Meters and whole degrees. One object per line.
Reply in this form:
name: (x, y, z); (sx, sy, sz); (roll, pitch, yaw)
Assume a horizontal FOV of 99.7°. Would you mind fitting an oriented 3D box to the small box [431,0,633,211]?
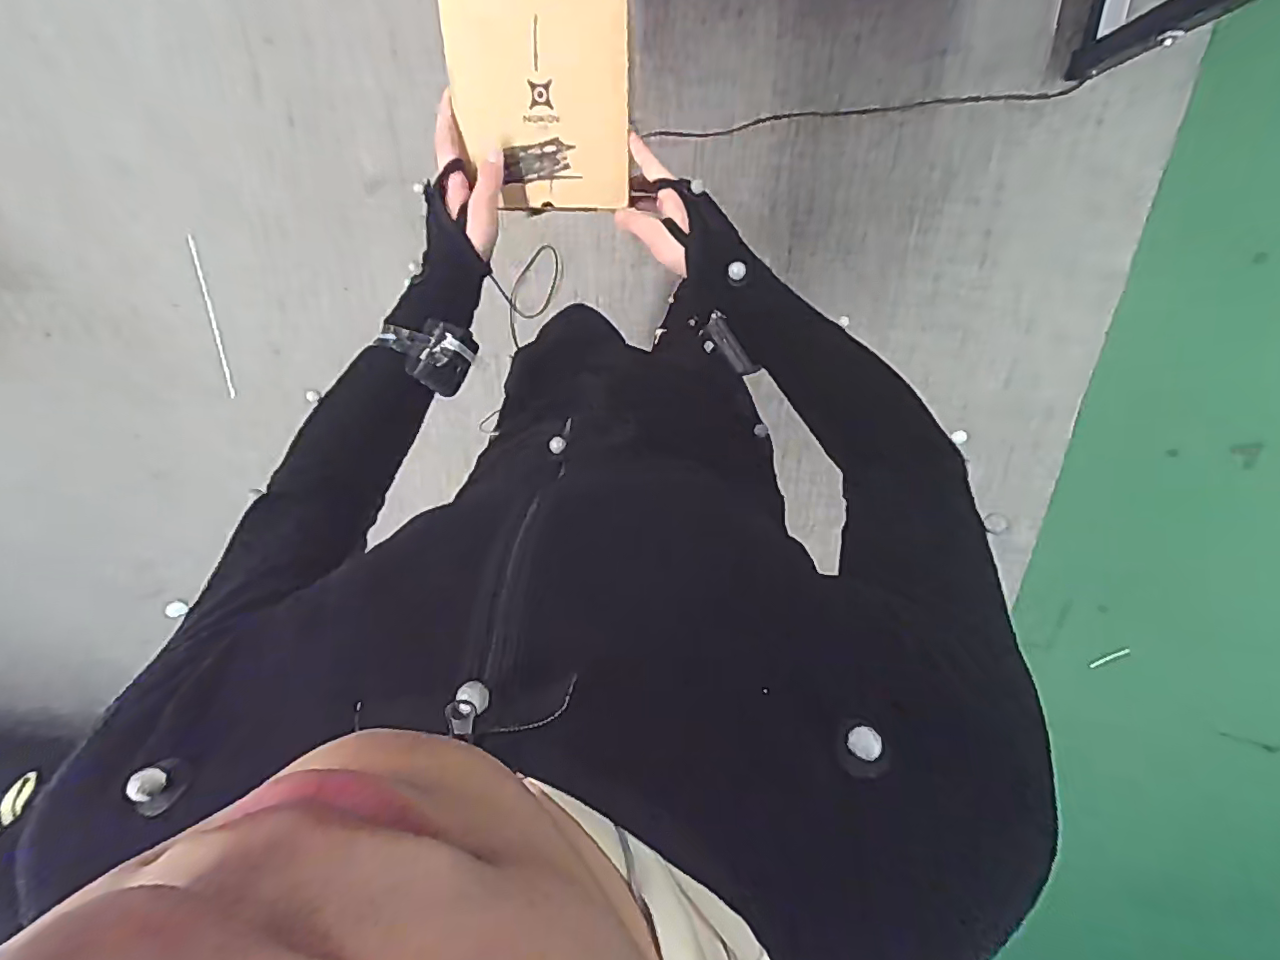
small box: (-0.094, -0.384, 0.563); (0.168, 0.176, 0.179); (1, 119, 2)
